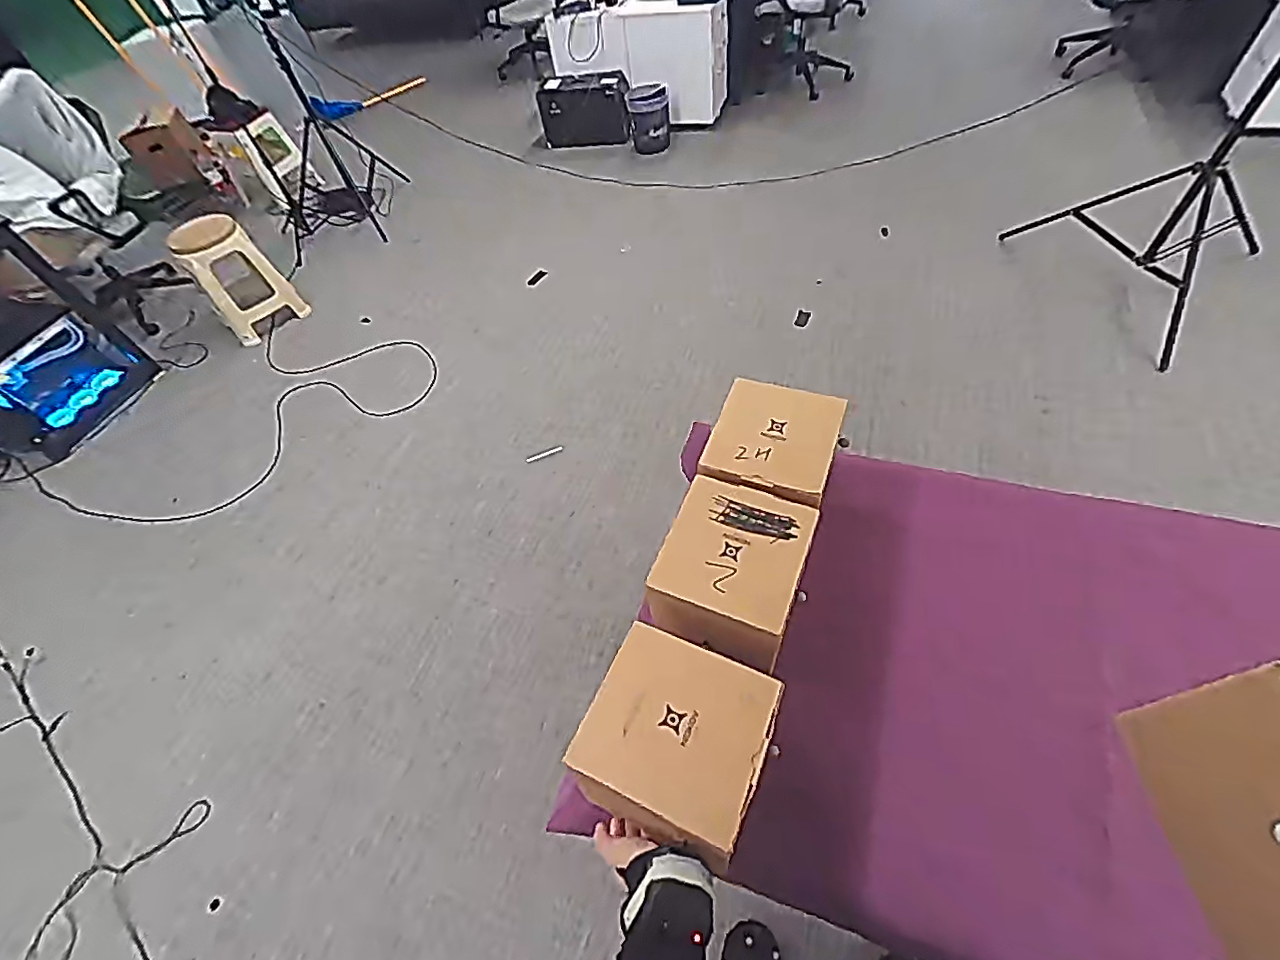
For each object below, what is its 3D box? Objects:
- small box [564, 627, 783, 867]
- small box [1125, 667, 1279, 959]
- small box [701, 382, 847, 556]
[{"bbox_3d":[0.043,0.299,0.603,0.179,0.176,0.168,17,51,20],"label":"small box"},{"bbox_3d":[0.418,0.201,0.282,0.168,0.176,0.179,-7,57,10],"label":"small box"},{"bbox_3d":[0.197,-0.015,0.814,0.168,0.176,0.179,15,58,19],"label":"small box"}]
